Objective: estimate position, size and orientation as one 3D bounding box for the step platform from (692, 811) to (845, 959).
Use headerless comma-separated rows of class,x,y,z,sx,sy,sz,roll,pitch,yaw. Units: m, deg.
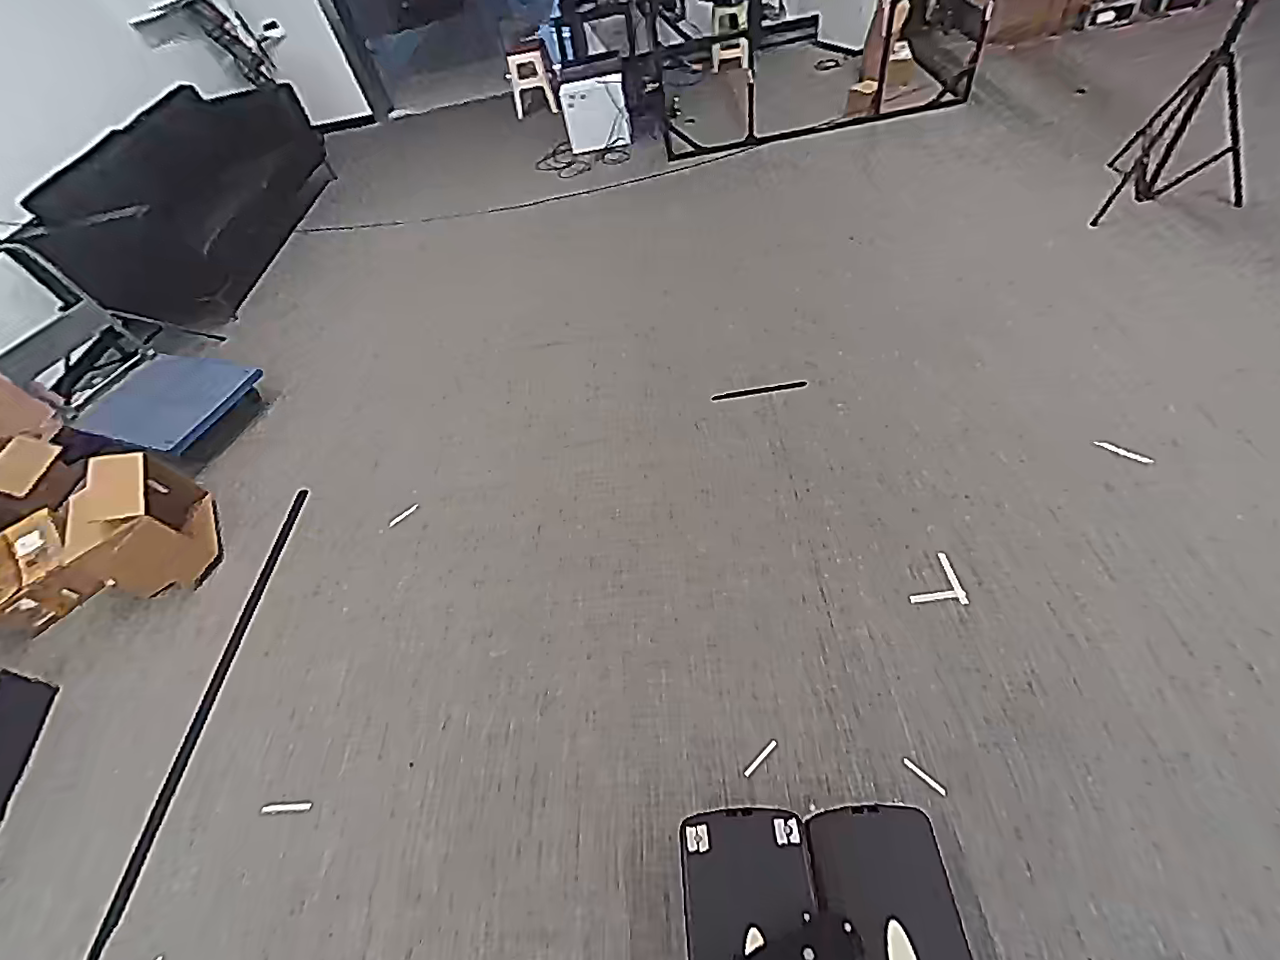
step platform,0.276,1.054,1.068,0.286,0.204,0.684,-8,50,5
